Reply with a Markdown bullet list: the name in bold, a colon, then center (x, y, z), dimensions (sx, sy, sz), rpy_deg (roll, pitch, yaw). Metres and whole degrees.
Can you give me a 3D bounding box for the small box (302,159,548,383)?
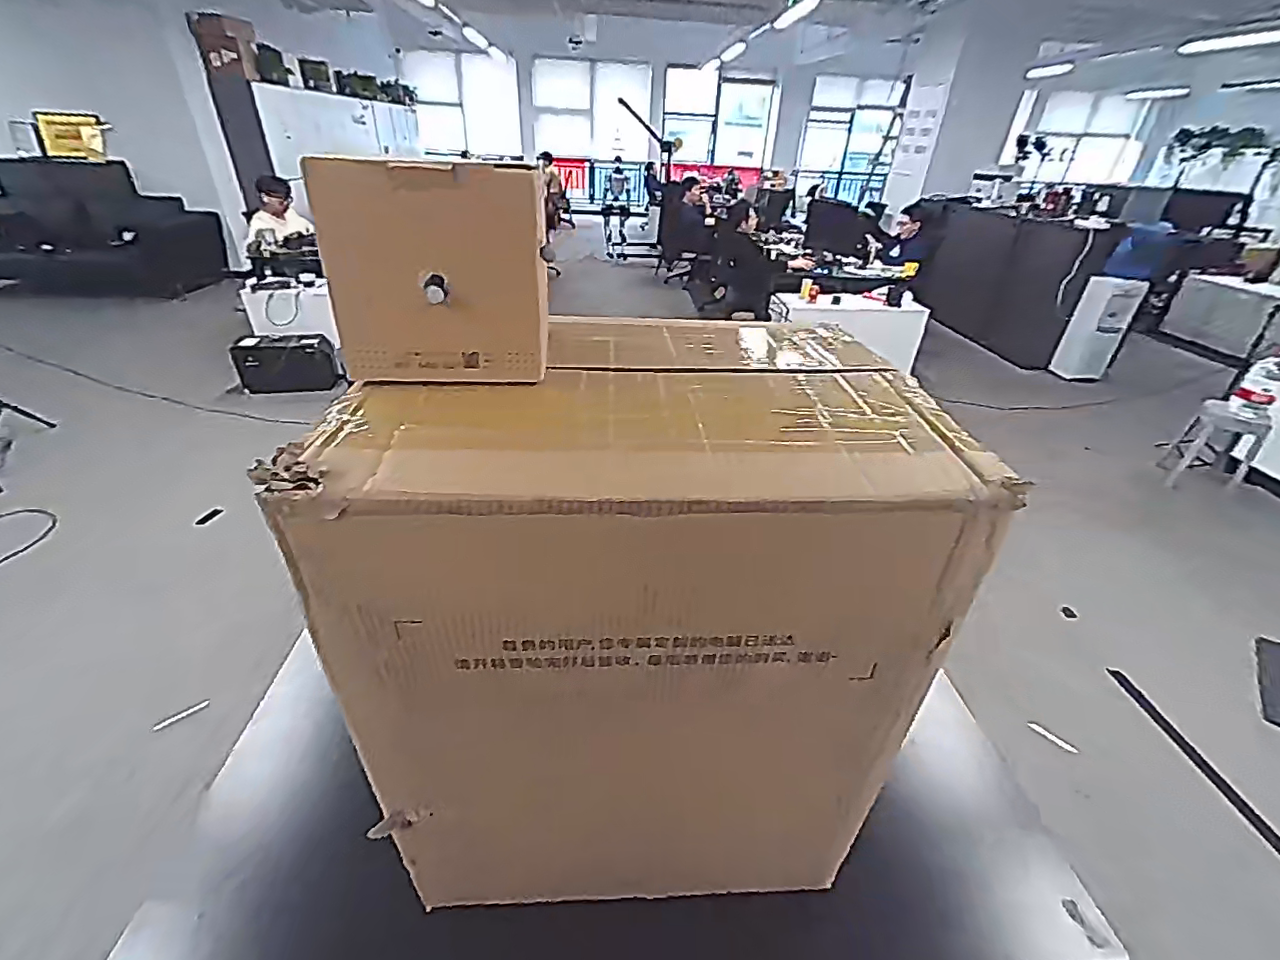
- **small box**: center (-0.173, -0.196, 0.503), dimensions (0.168, 0.176, 0.179), rpy_deg (-1, 31, -8)
